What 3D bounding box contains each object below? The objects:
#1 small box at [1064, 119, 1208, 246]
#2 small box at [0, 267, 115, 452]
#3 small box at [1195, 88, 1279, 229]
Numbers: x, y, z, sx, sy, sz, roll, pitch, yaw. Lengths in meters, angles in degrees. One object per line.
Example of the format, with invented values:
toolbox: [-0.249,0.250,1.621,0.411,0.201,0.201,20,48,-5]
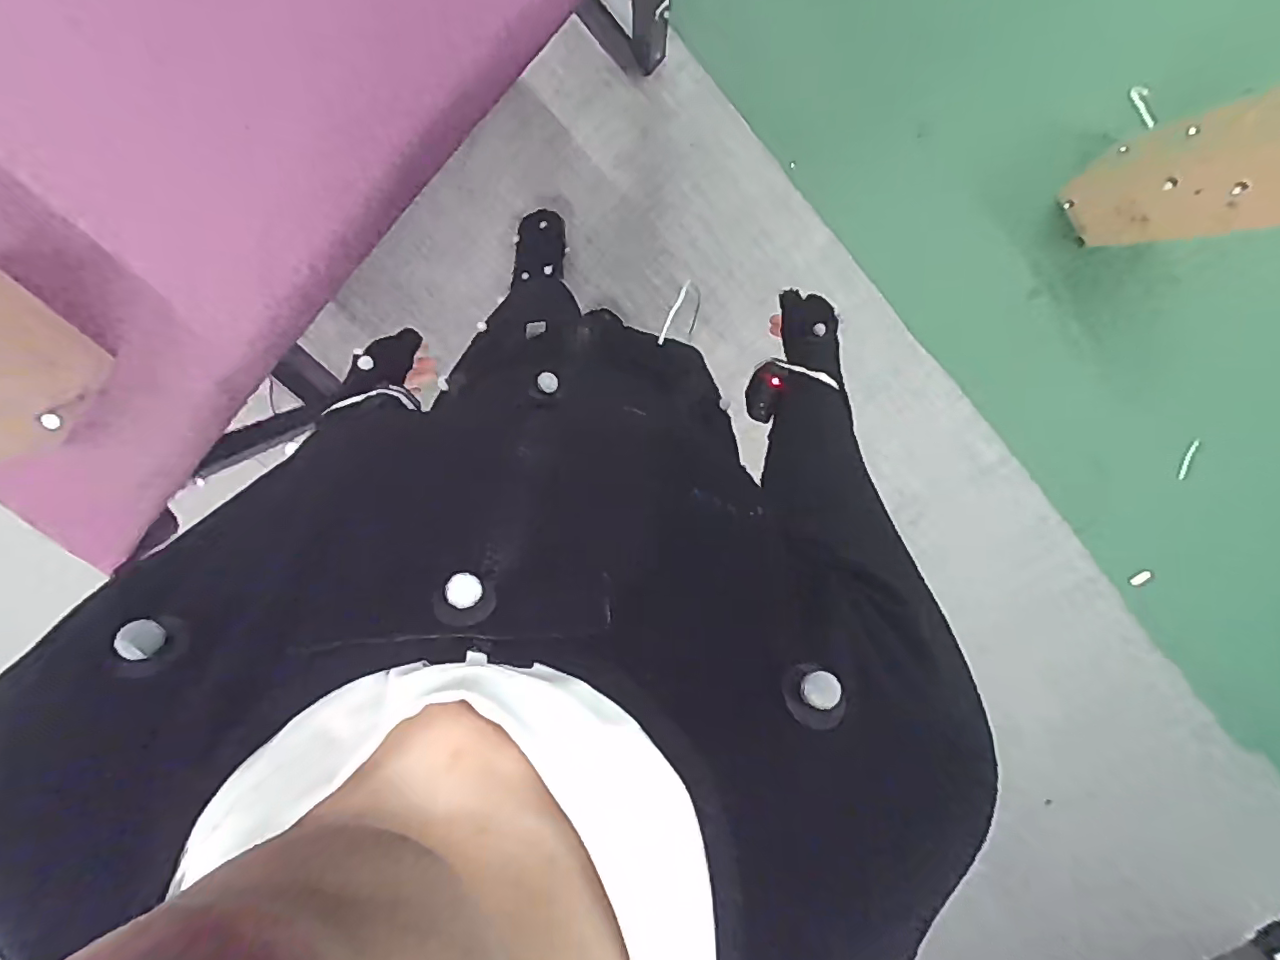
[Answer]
small box: [1.096,-0.645,1.201,0.179,0.176,0.168,-42,105,12]
small box: [-0.774,-0.134,0.605,0.168,0.176,0.179,-42,105,13]
small box: [1.101,-0.543,0.889,0.168,0.176,0.179,42,104,-14]
